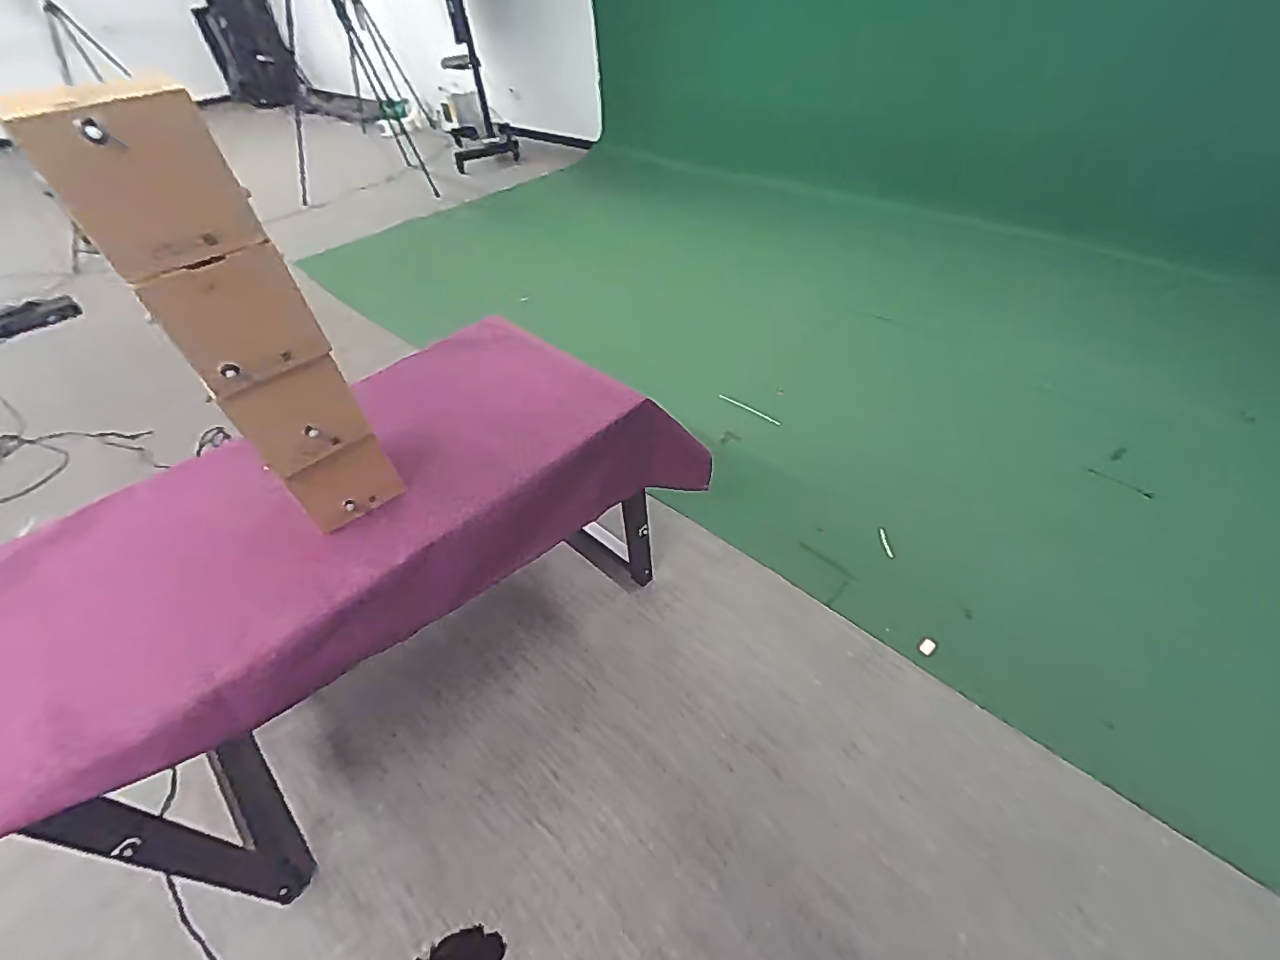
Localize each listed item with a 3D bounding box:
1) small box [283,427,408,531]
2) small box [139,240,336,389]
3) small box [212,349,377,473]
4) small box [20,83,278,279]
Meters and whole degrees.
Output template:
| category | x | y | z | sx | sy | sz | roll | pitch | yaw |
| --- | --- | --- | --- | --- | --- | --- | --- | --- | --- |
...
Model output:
| category | x | y | z | sx | sy | sz | roll | pitch | yaw |
| --- | --- | --- | --- | --- | --- | --- | --- | --- | --- |
| small box | -0.575 | -0.036 | 1.029 | 0.168 | 0.176 | 0.179 | -34 | 52 | -25 |
| small box | -0.579 | -0.254 | 0.784 | 0.168 | 0.176 | 0.179 | -35 | 51 | -26 |
| small box | -0.578 | -0.141 | 0.903 | 0.168 | 0.176 | 0.179 | -36 | 53 | -26 |
| small box | -0.594 | -0.371 | 0.670 | 0.168 | 0.176 | 0.179 | -34 | 51 | -25 |
